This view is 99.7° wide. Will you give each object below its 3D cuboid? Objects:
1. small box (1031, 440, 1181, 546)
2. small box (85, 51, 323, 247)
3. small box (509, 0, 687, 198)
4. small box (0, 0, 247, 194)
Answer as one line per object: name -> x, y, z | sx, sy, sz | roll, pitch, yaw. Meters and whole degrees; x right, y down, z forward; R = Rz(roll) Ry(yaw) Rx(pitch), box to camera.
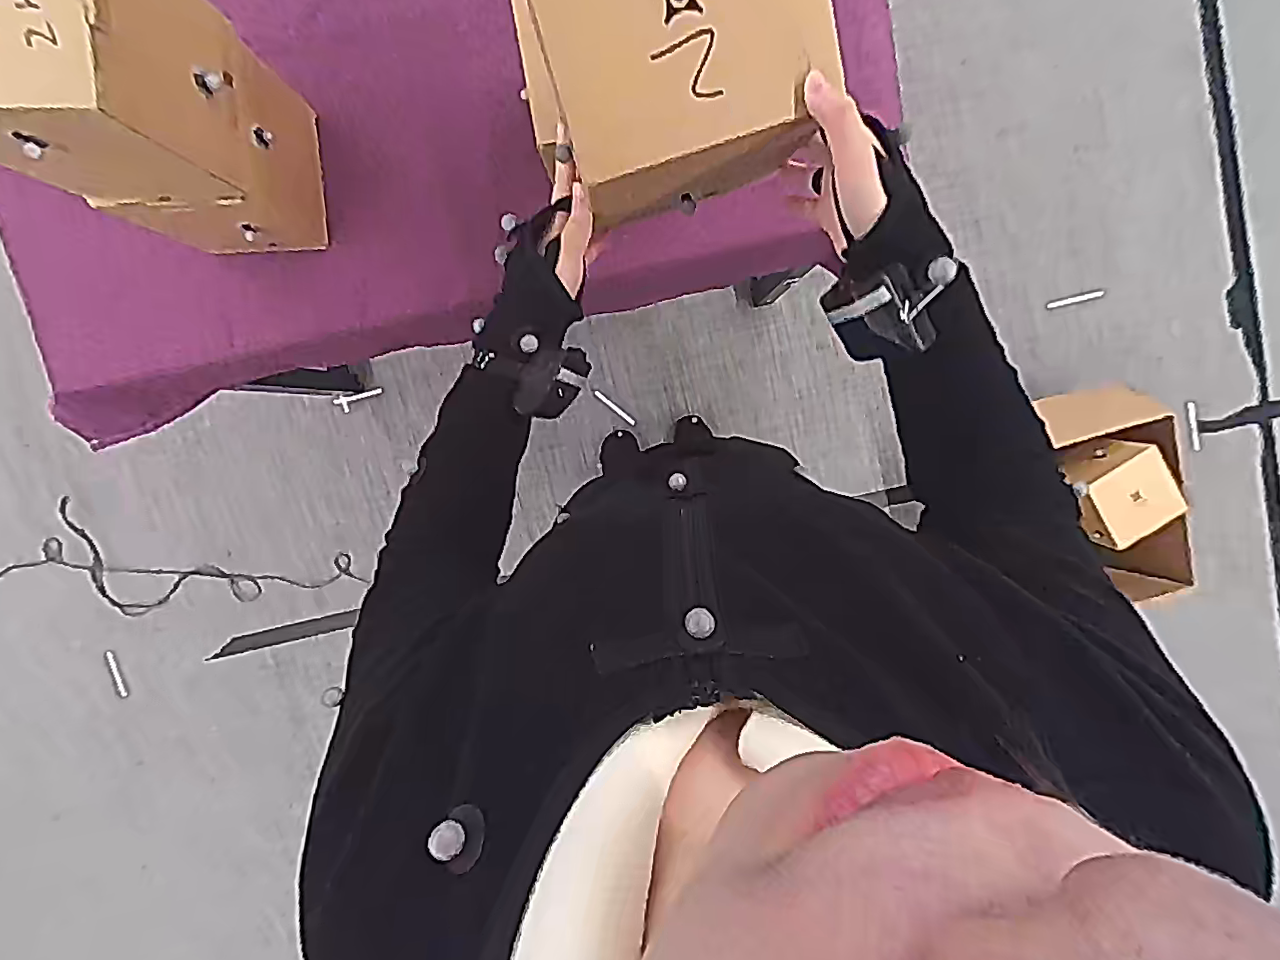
small box -> 1.059, 0.020, 1.245 | 0.168, 0.176, 0.179 | -35, 100, 6
small box -> -0.502, -0.385, 0.638 | 0.168, 0.176, 0.179 | -2, 97, -1
small box -> -0.043, -0.453, 0.631 | 0.168, 0.176, 0.179 | -10, 96, 1
small box -> -0.495, -0.368, 0.475 | 0.179, 0.176, 0.168 | -1, 98, -1
